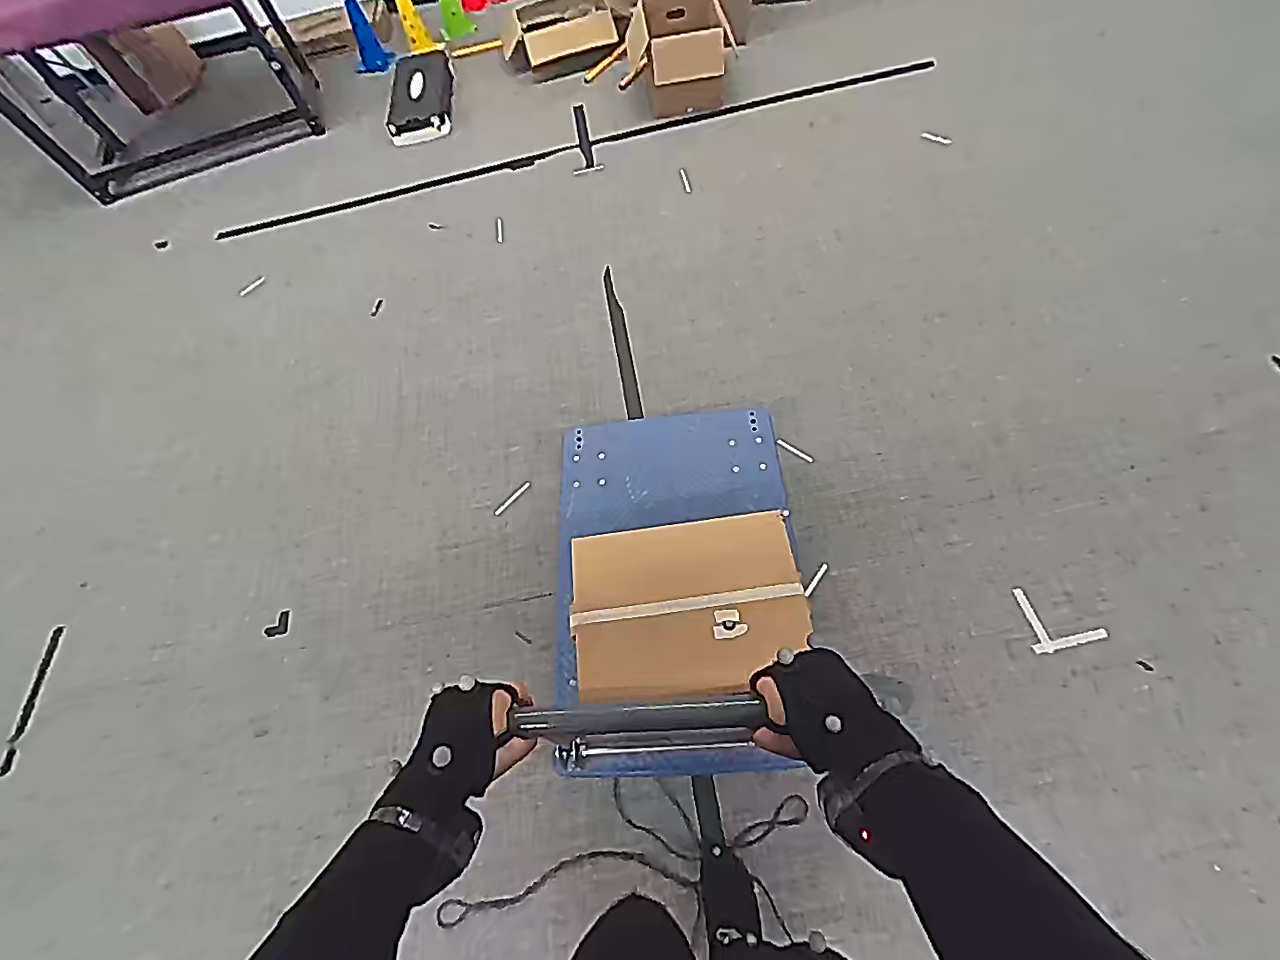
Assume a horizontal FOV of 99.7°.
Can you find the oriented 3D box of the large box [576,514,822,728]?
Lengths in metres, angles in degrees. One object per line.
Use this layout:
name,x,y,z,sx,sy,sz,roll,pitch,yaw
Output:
large box,0.102,0.299,1.096,0.408,0.320,0.320,-8,62,2
